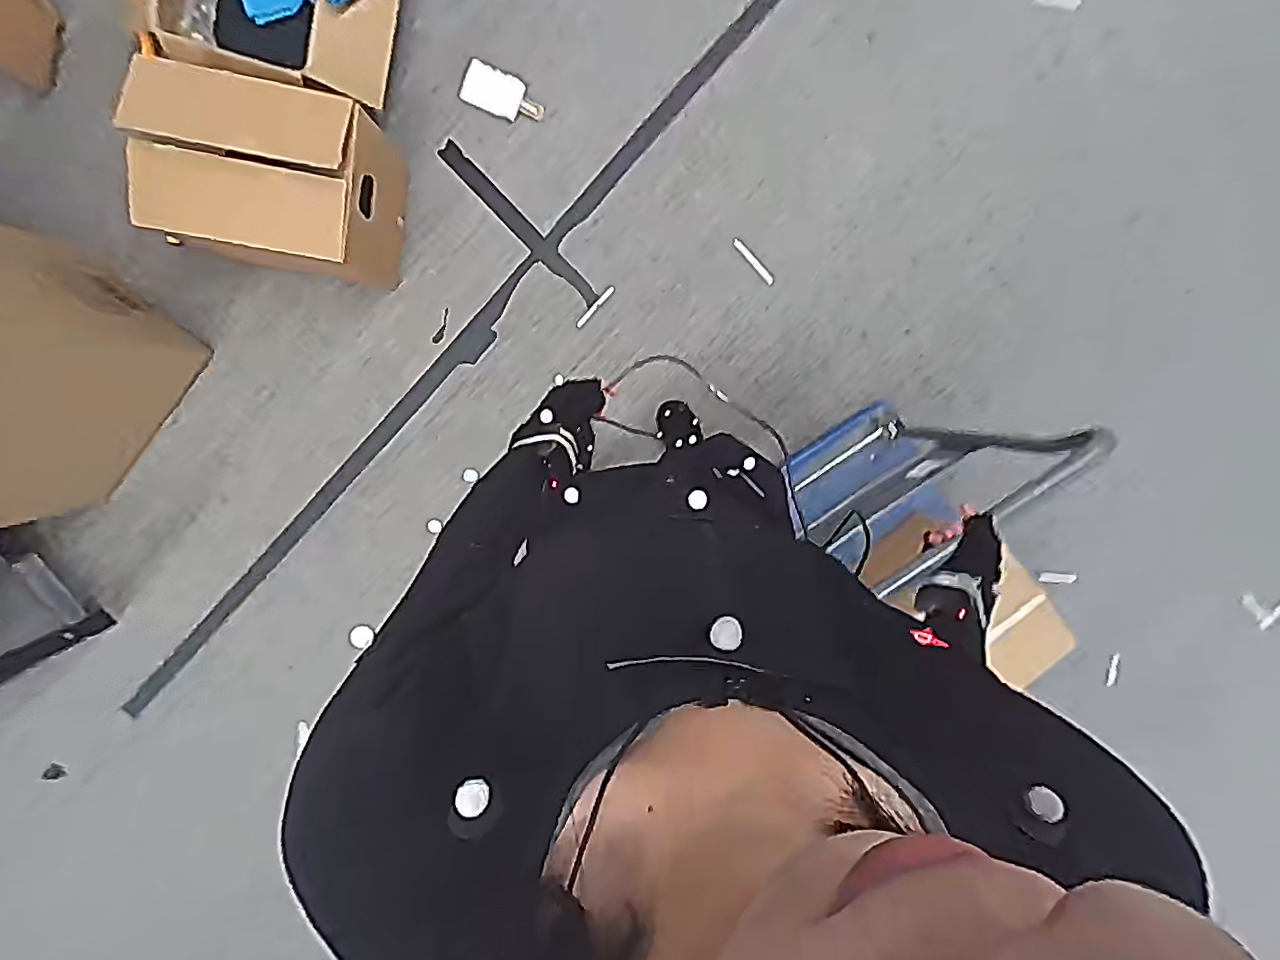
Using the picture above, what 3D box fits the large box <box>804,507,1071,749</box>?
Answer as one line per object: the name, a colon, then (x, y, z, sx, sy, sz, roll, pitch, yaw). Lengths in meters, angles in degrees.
large box: (0.686, 0.332, 1.307, 0.408, 0.320, 0.320, -41, 99, 4)
